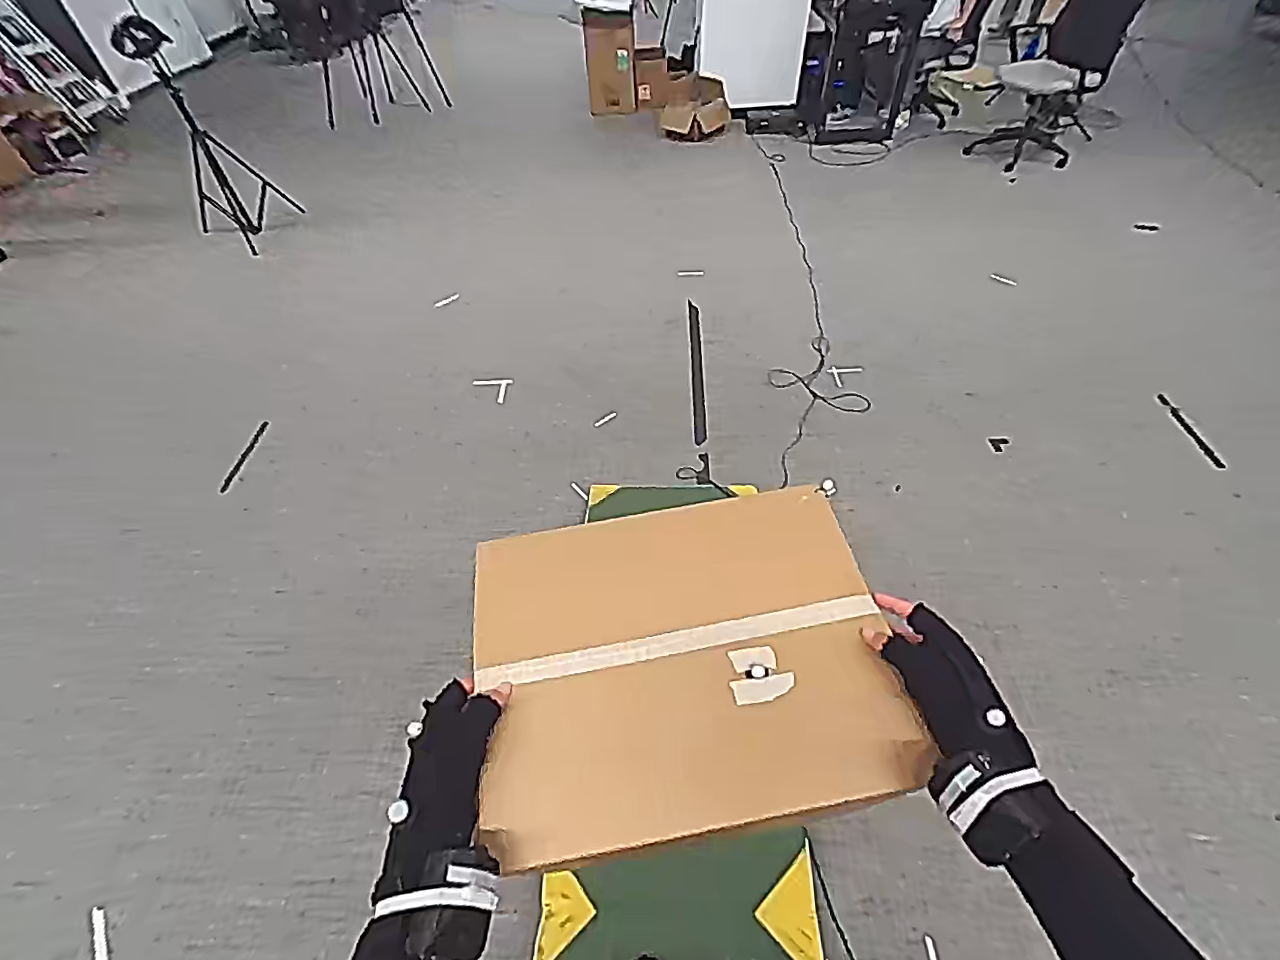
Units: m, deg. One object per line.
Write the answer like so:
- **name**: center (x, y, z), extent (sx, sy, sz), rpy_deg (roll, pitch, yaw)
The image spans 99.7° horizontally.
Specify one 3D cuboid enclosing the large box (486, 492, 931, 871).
- **large box**: center (0.048, 0.258, 0.673), extent (0.408, 0.320, 0.320), rpy_deg (-10, 54, -3)
